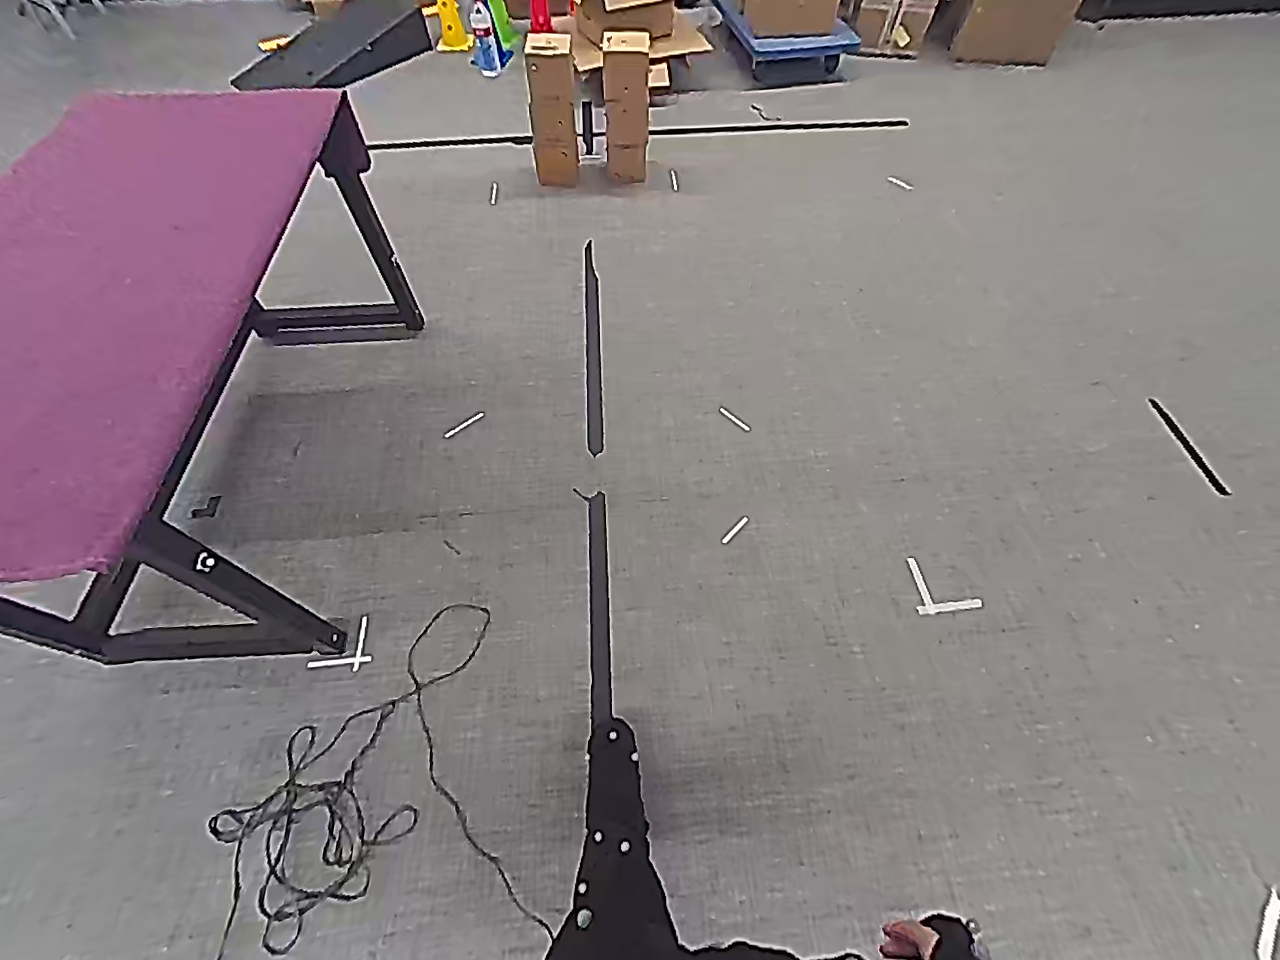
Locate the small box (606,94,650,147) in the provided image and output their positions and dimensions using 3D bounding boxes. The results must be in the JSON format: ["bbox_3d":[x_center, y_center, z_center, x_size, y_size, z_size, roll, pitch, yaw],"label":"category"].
[{"bbox_3d":[-0.051,-1.508,2.244,0.179,0.176,0.168,-2,59,-3],"label":"small box"}]

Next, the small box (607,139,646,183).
[{"bbox_3d":[-0.059,-1.437,2.393,0.168,0.176,0.179,-4,58,-4],"label":"small box"}]

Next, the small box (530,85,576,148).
[{"bbox_3d":[-0.356,-1.500,2.239,0.168,0.176,0.179,1,57,-2],"label":"small box"}]

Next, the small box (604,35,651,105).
[{"bbox_3d":[-0.049,-1.591,2.102,0.179,0.176,0.168,2,59,-1],"label":"small box"}]

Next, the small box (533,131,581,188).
[{"bbox_3d":[-0.361,-1.408,2.373,0.179,0.176,0.168,2,58,0],"label":"small box"}]
